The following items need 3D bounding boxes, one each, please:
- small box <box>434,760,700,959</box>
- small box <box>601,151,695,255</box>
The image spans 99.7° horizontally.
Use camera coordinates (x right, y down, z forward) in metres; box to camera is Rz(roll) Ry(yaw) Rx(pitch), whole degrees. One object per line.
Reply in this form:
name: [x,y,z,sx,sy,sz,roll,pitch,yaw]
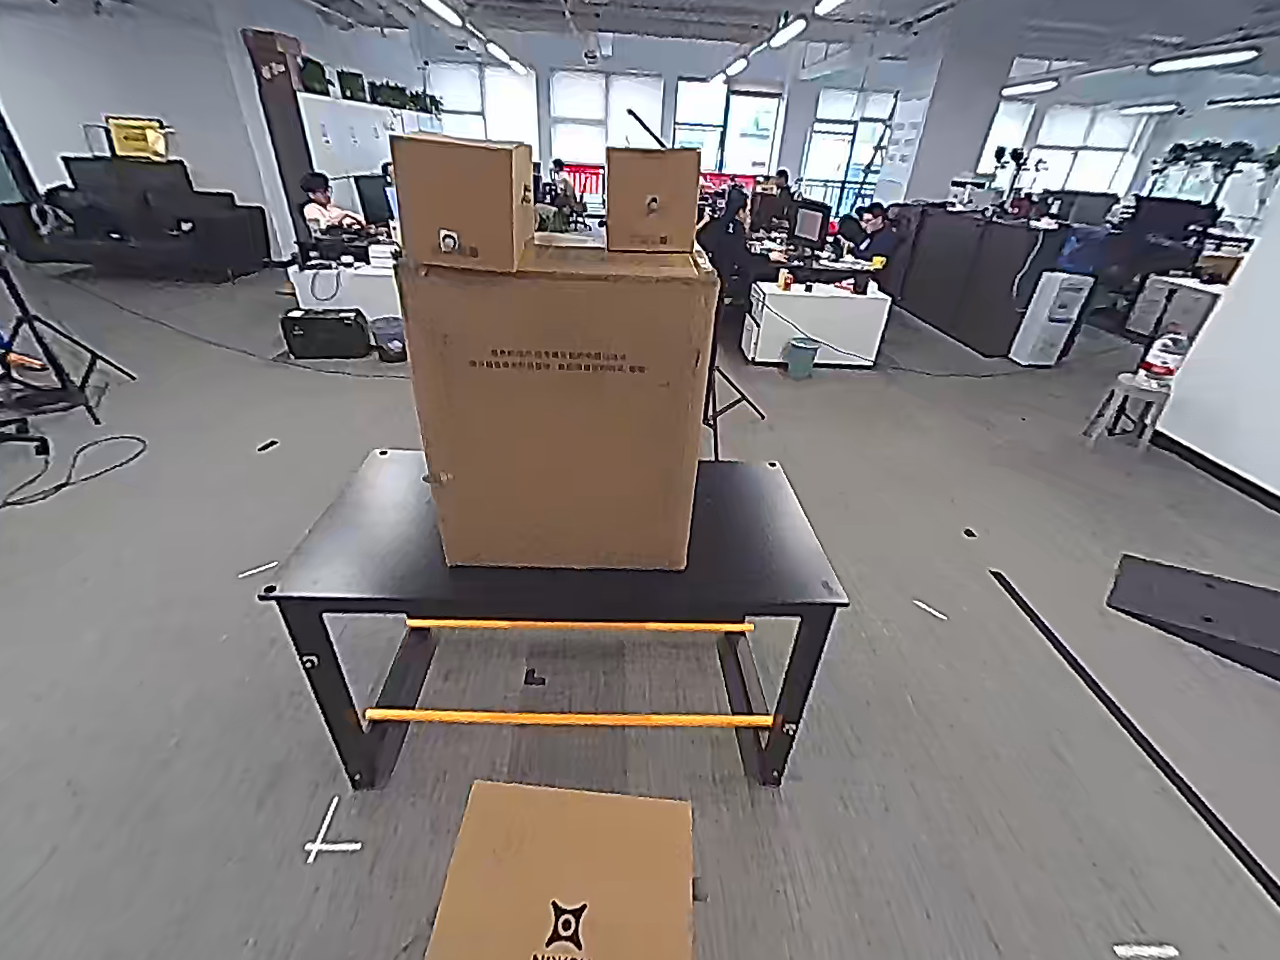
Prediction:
small box: [-0.048,0.340,0.405,0.168,0.176,0.179,4,43,1]
small box: [0.011,-0.534,1.042,0.168,0.176,0.179,-2,31,-4]
